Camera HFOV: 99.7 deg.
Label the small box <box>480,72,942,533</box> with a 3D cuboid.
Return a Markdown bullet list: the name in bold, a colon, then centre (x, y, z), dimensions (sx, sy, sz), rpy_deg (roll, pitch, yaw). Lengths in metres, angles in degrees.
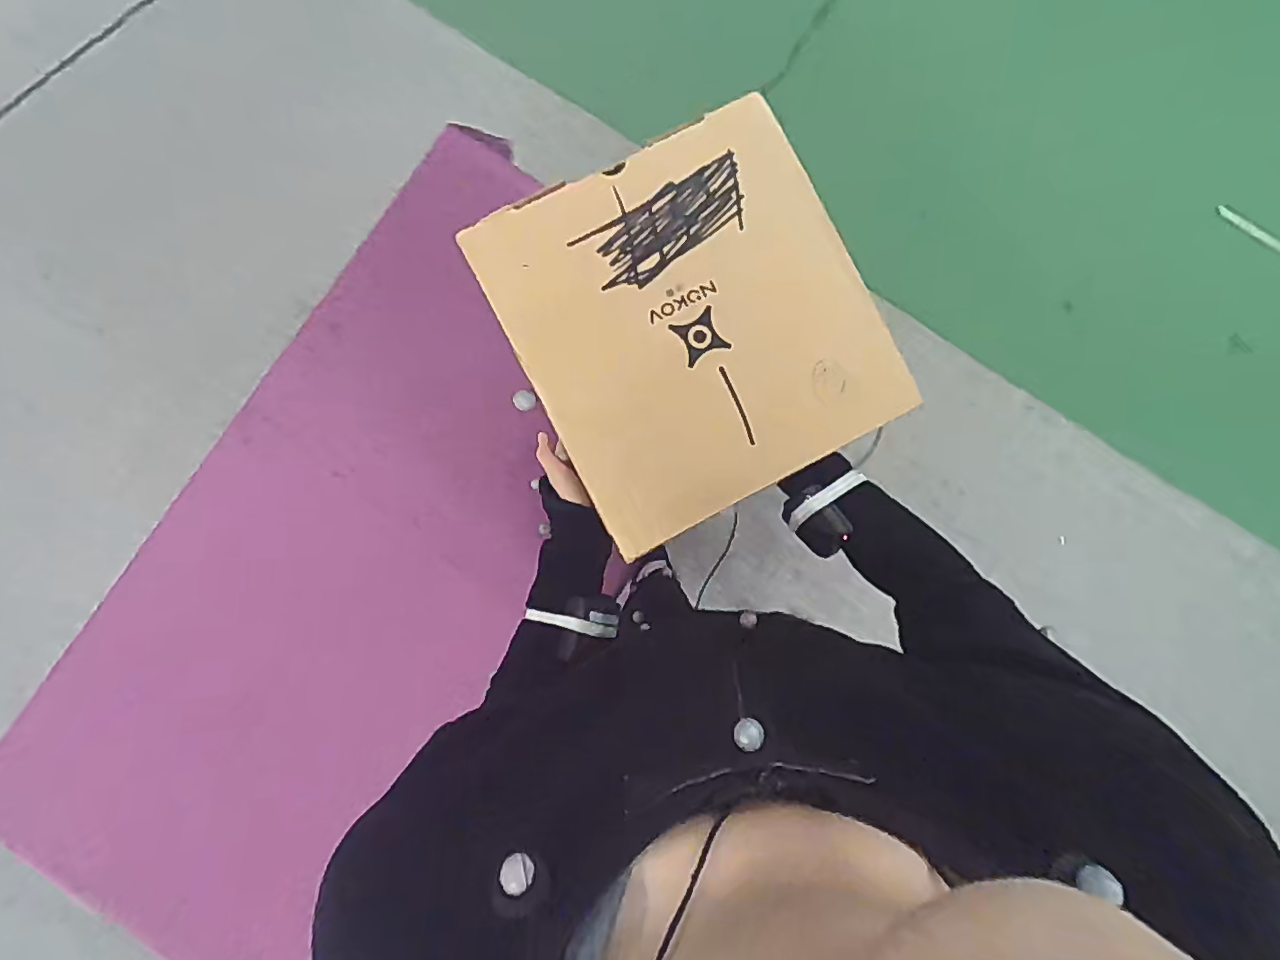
- **small box**: centre (0.030, -0.082, 0.333), dimensions (0.168, 0.176, 0.179), rpy_deg (-28, 89, -3)
